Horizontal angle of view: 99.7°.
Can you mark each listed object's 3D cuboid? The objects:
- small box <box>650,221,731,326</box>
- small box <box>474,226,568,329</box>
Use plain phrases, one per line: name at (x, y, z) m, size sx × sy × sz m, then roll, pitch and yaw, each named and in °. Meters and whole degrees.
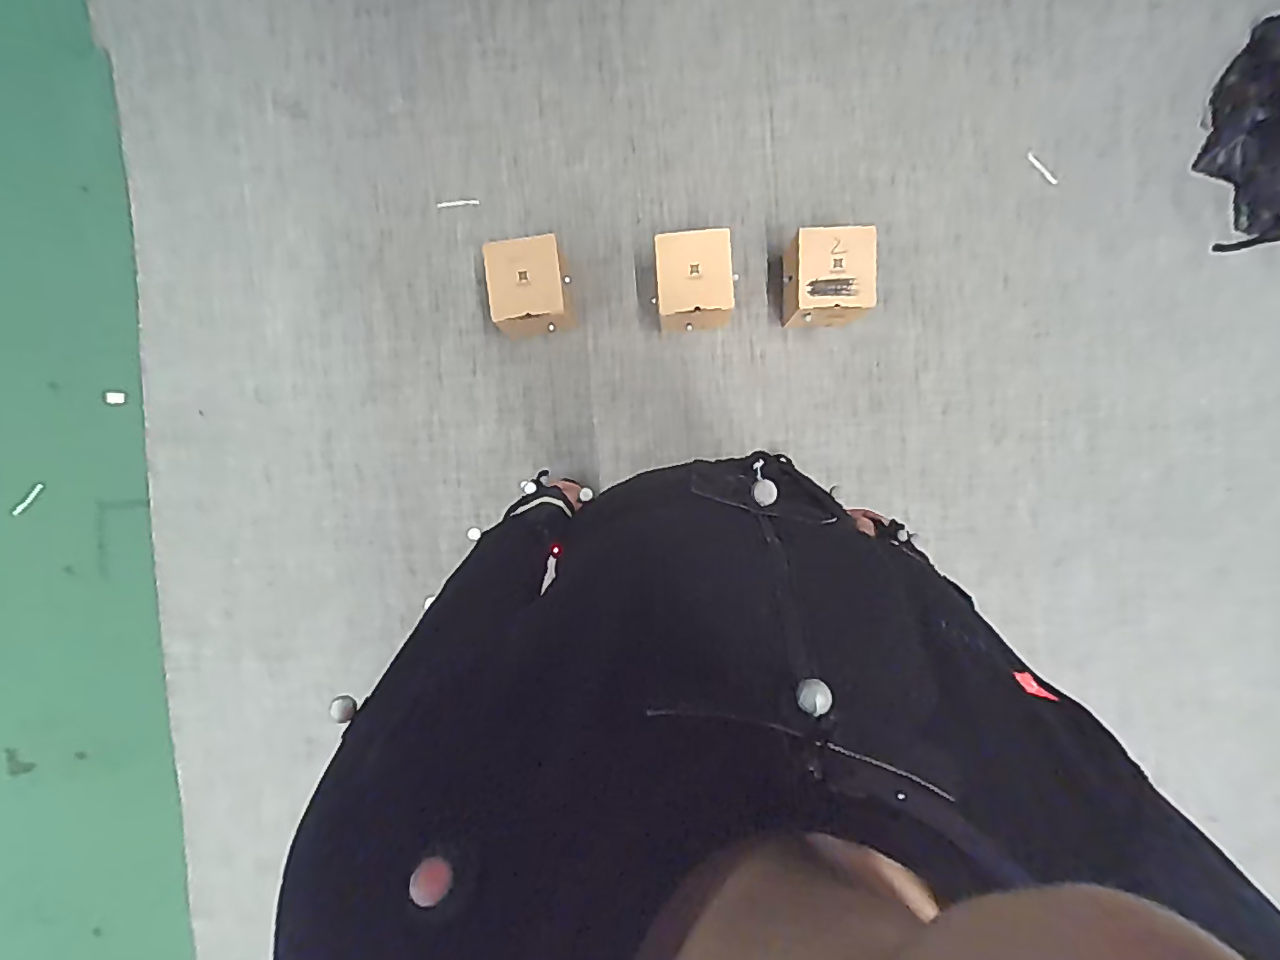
small box at (0.109, -0.463, 1.231) m, size 0.168 × 0.176 × 0.179 m, roll -4°, pitch 93°, yaw 2°
small box at (-0.266, -0.455, 1.245) m, size 0.168 × 0.176 × 0.179 m, roll -7°, pitch 91°, yaw 2°
